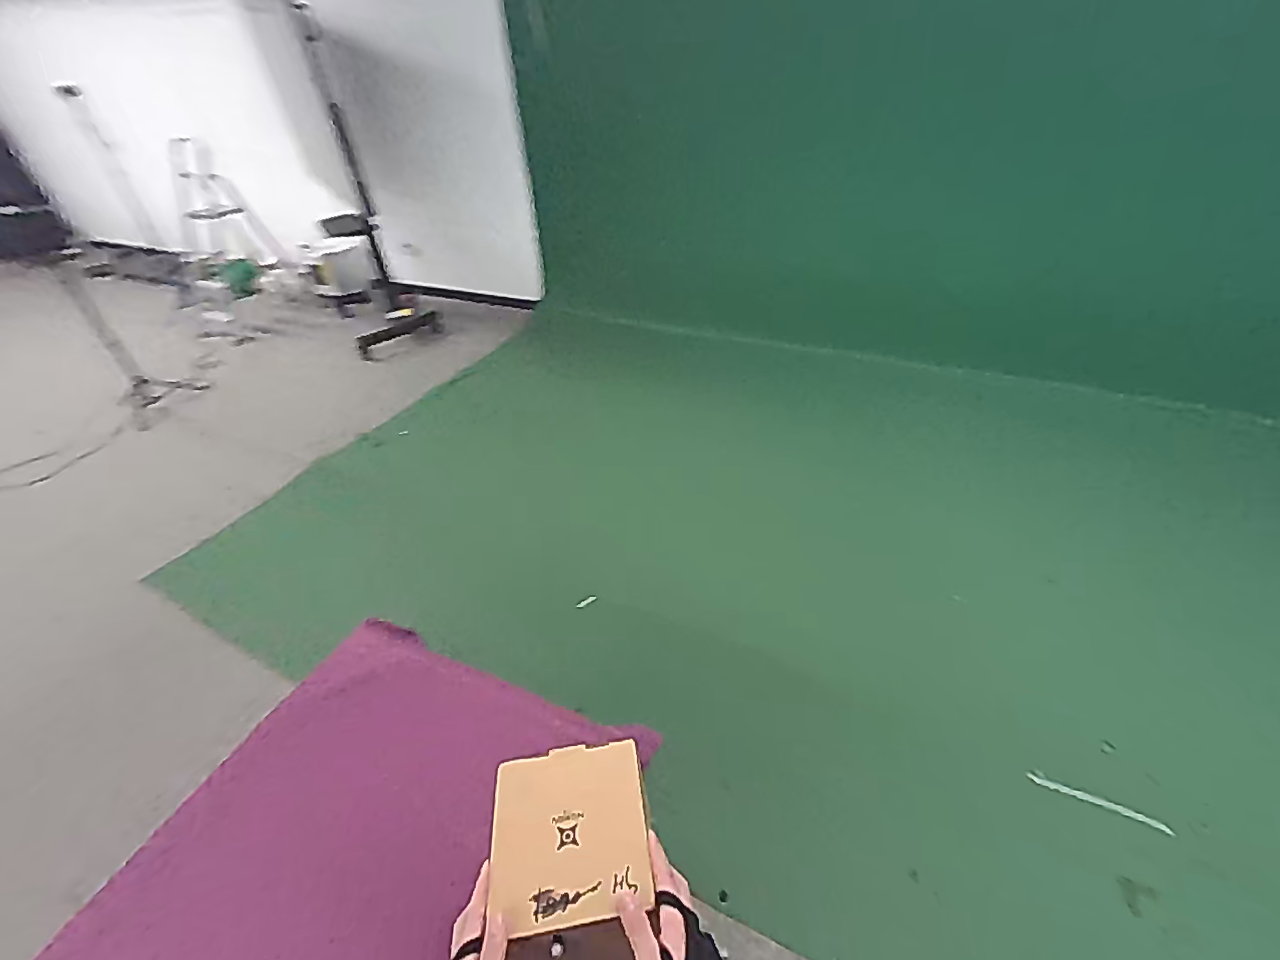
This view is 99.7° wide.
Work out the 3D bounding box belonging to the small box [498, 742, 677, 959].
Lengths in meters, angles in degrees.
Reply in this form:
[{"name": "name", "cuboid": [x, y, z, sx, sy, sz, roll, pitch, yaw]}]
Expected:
[{"name": "small box", "cuboid": [-0.054, 0.438, 0.620, 0.168, 0.176, 0.179, -9, 34, -2]}]
